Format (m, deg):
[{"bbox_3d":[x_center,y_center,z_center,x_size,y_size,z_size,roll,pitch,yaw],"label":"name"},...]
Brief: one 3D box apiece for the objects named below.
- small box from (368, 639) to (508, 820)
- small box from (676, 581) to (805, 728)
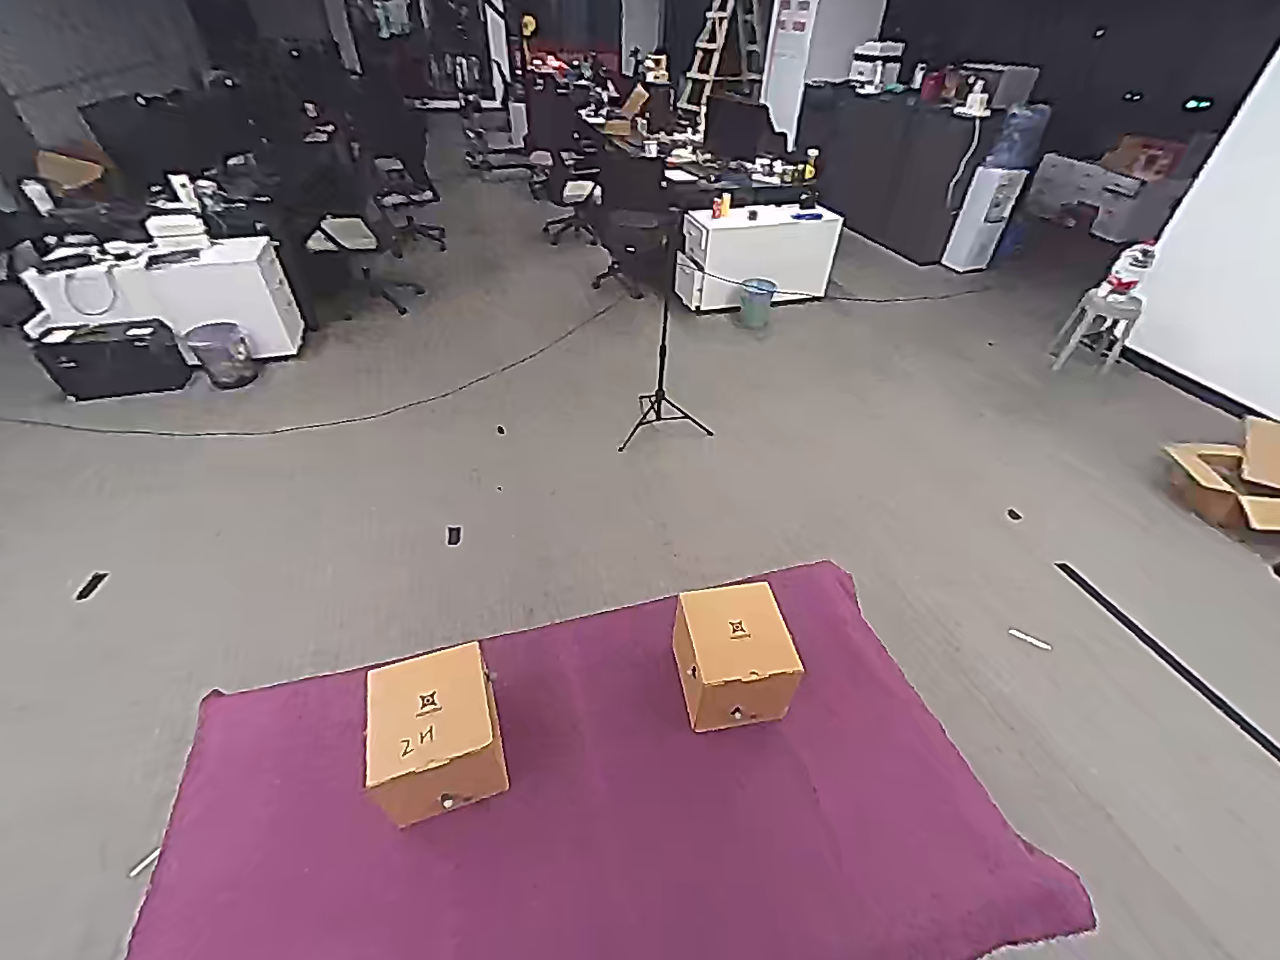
[{"bbox_3d":[-0.306,0.382,0.836,0.168,0.176,0.179,-12,43,-15],"label":"small box"},{"bbox_3d":[0.162,0.304,0.947,0.168,0.176,0.179,-6,43,-8],"label":"small box"}]
